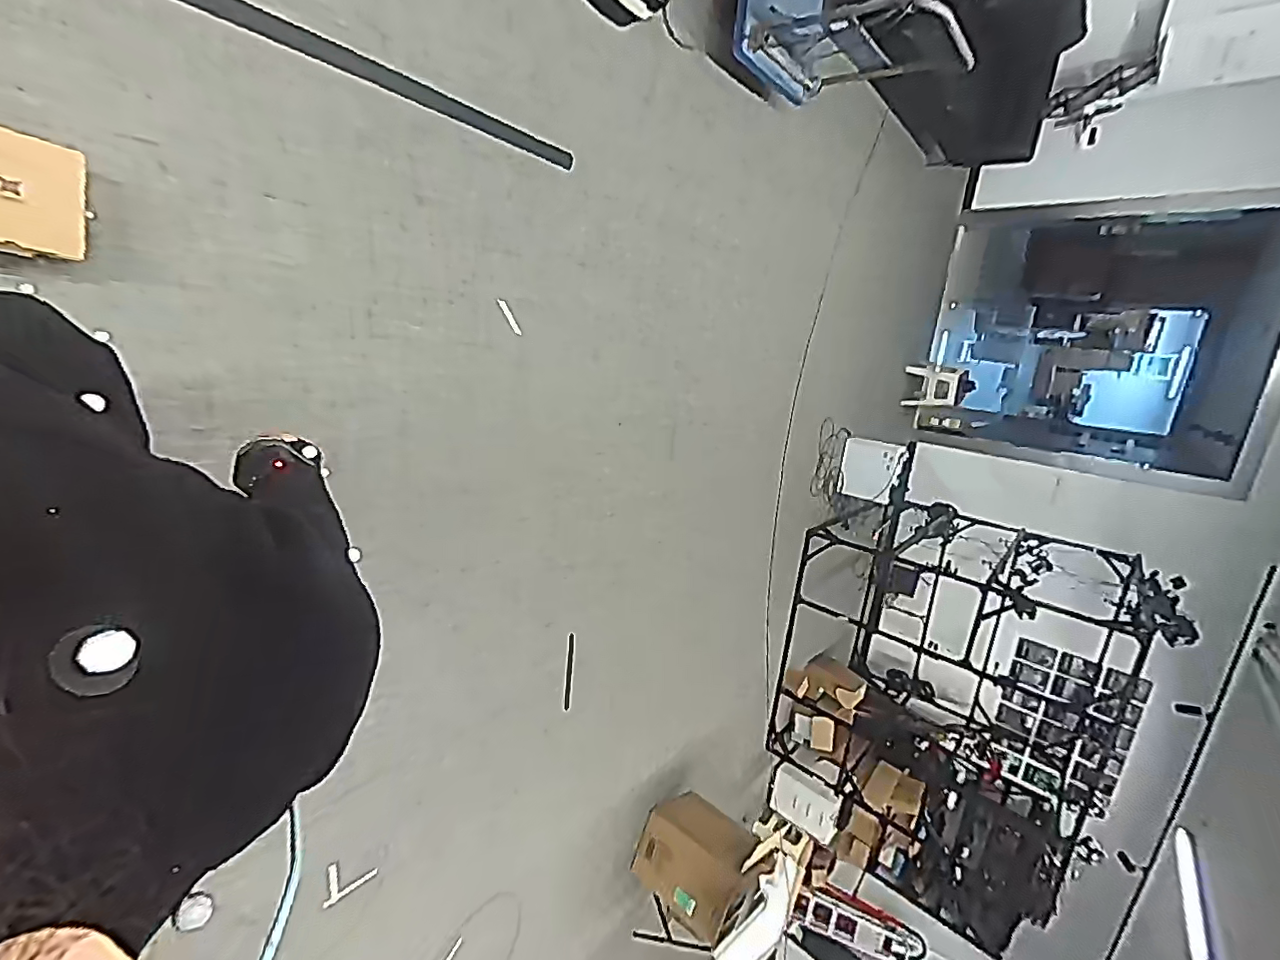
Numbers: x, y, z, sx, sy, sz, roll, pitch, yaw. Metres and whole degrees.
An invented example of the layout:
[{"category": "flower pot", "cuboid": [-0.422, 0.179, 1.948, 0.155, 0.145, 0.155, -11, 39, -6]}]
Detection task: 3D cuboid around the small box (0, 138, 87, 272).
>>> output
[{"category": "small box", "cuboid": [-1.038, -0.453, 0.888, 0.168, 0.176, 0.179, -1, 103, -52]}]
